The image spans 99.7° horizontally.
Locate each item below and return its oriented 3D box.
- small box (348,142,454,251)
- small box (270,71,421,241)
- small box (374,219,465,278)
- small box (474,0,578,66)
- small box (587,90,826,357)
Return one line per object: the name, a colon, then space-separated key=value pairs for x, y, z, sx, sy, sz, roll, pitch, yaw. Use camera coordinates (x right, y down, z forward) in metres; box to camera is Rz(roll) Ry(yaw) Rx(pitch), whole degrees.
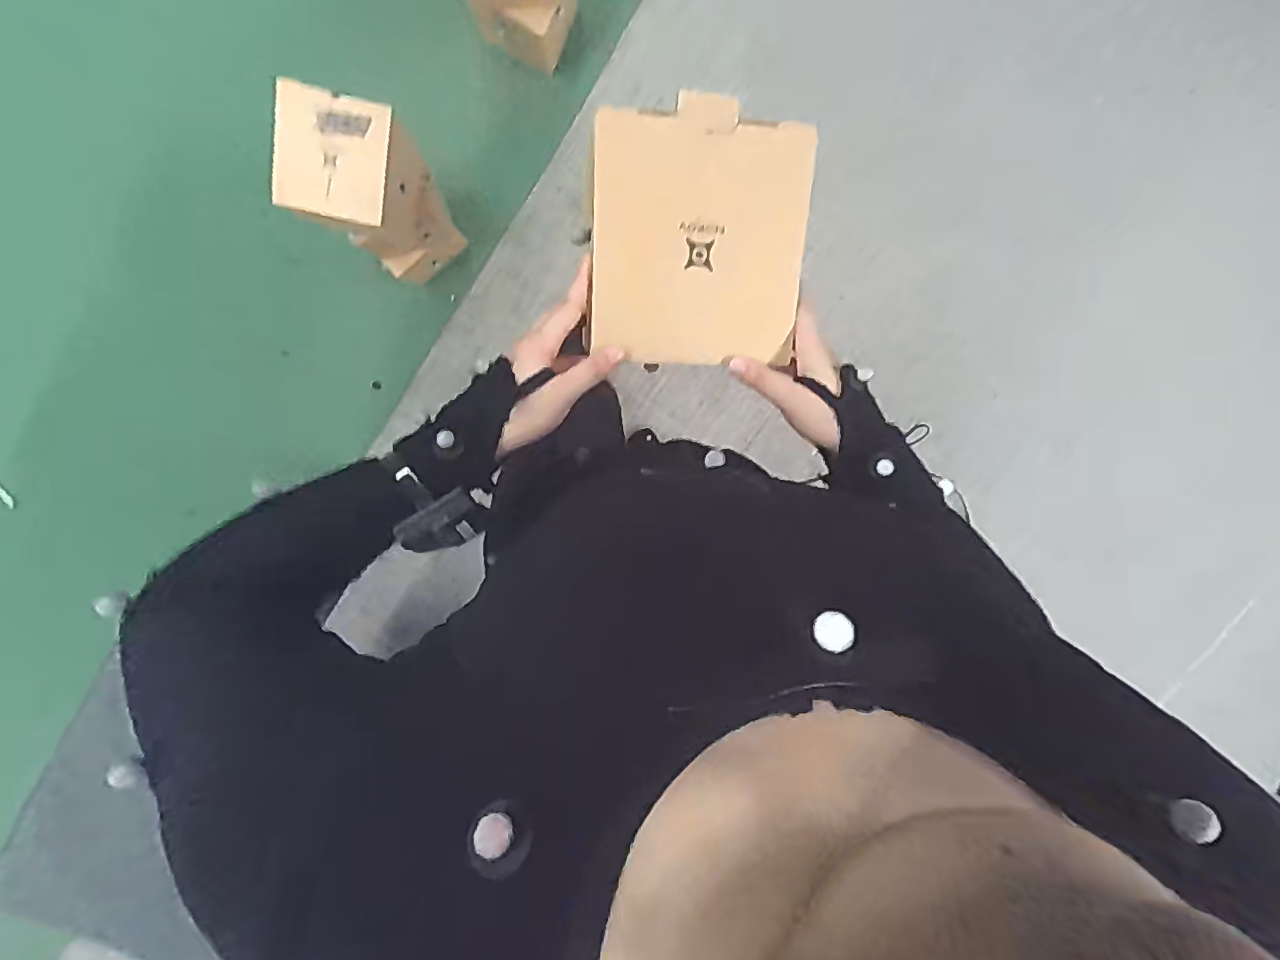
small box: x=-0.483 y=-0.561 z=1.050 sx=0.168 sy=0.176 sz=0.179 roll=-19 pitch=103 yaw=-2
small box: x=-0.473 y=-0.517 z=0.892 sx=0.168 sy=0.176 sz=0.179 roll=10 pitch=103 yaw=-9
small box: x=-0.521 y=-0.575 z=1.210 sx=0.168 sy=0.176 sz=0.179 roll=-39 pitch=103 yaw=3
small box: x=-0.241 y=-1.025 z=1.133 sx=0.179 sy=0.176 sz=0.168 roll=24 pitch=99 yaw=-9
small box: x=0.040 y=-0.207 z=0.478 sx=0.168 sy=0.176 sz=0.179 roll=-1 pitch=107 yaw=-8
